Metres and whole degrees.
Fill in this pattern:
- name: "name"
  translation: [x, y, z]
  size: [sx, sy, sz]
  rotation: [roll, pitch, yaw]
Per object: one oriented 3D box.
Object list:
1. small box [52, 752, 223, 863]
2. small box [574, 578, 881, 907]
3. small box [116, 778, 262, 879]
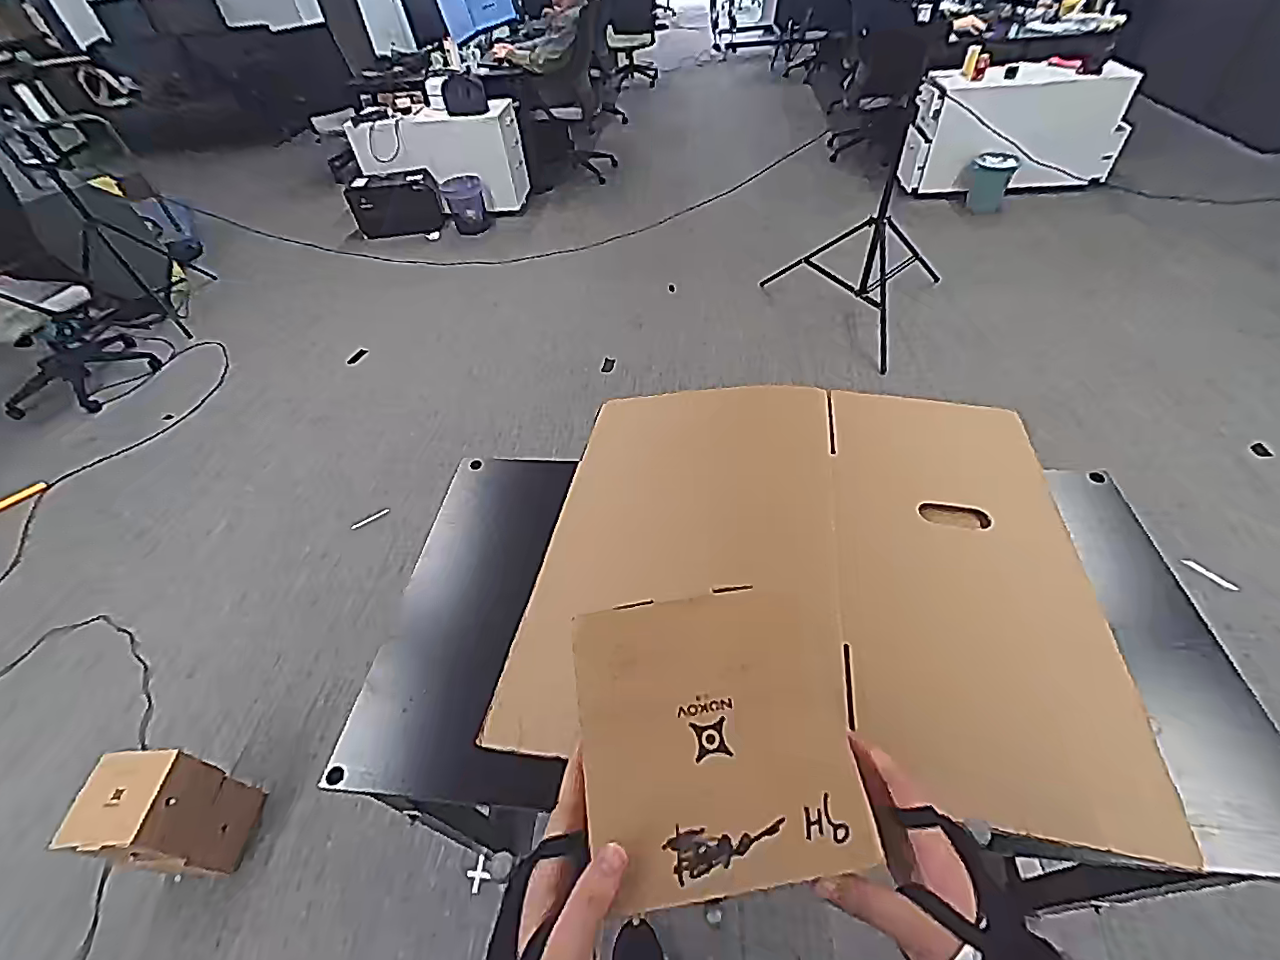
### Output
- name: "small box"
  translation: [-1.049, 0.701, 1.152]
  size: [0.168, 0.176, 0.179]
  rotation: [-3, 46, 1]
- name: "small box"
  translation: [0.047, 0.198, 0.411]
  size: [0.168, 0.176, 0.179]
  rotation: [-9, 56, -2]
- name: "small box"
  translation: [-1.036, 0.815, 1.267]
  size: [0.168, 0.176, 0.179]
  rotation: [-2, 48, 4]
